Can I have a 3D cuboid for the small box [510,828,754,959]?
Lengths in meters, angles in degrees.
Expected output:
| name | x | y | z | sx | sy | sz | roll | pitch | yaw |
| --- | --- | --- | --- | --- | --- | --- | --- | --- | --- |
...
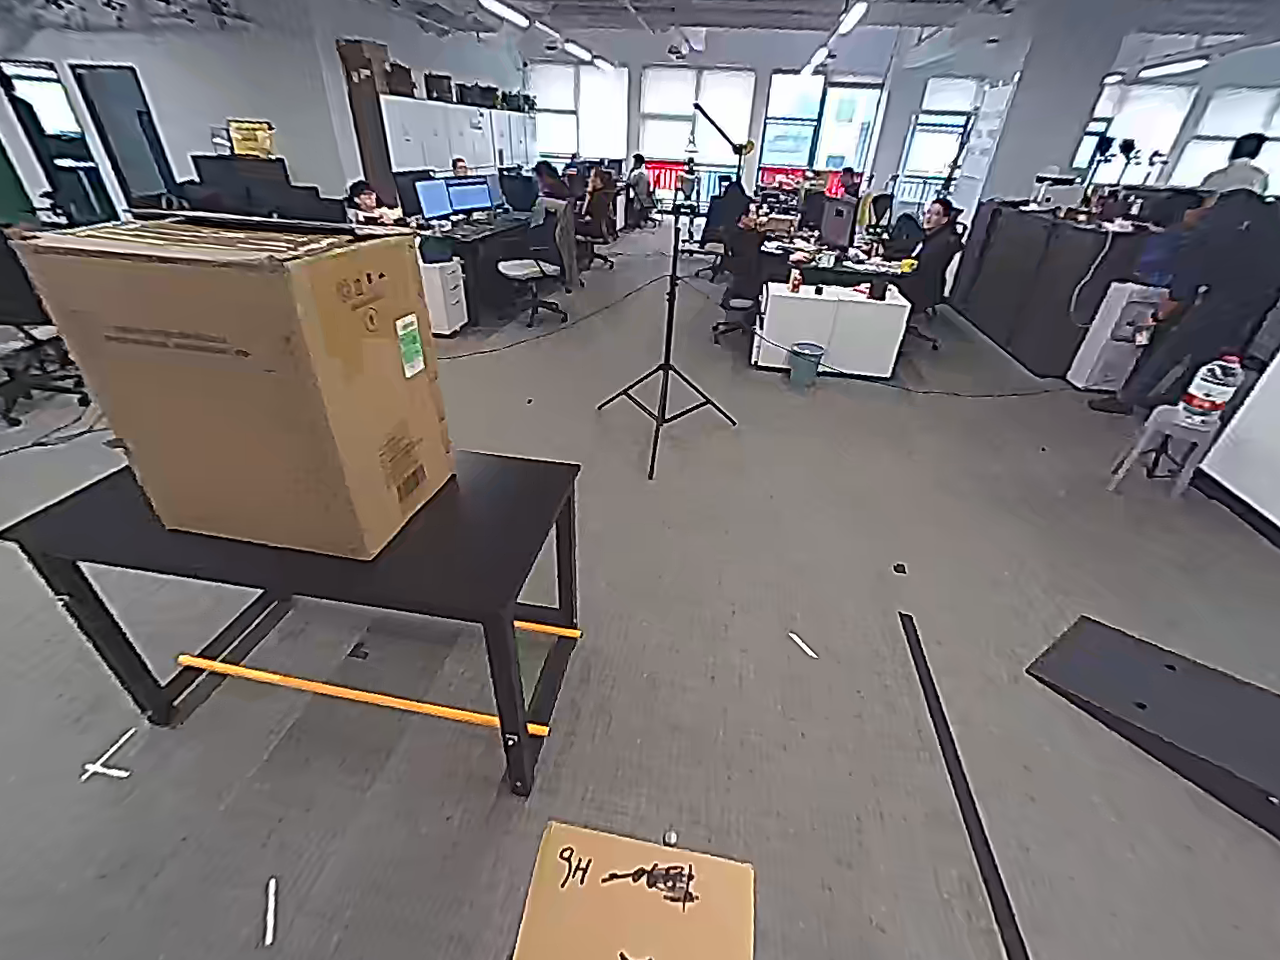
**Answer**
| name | x | y | z | sx | sy | sz | roll | pitch | yaw |
| --- | --- | --- | --- | --- | --- | --- | --- | --- | --- |
| small box | -0.015 | 0.398 | 0.416 | 0.168 | 0.176 | 0.179 | 10 | 49 | 3 |
